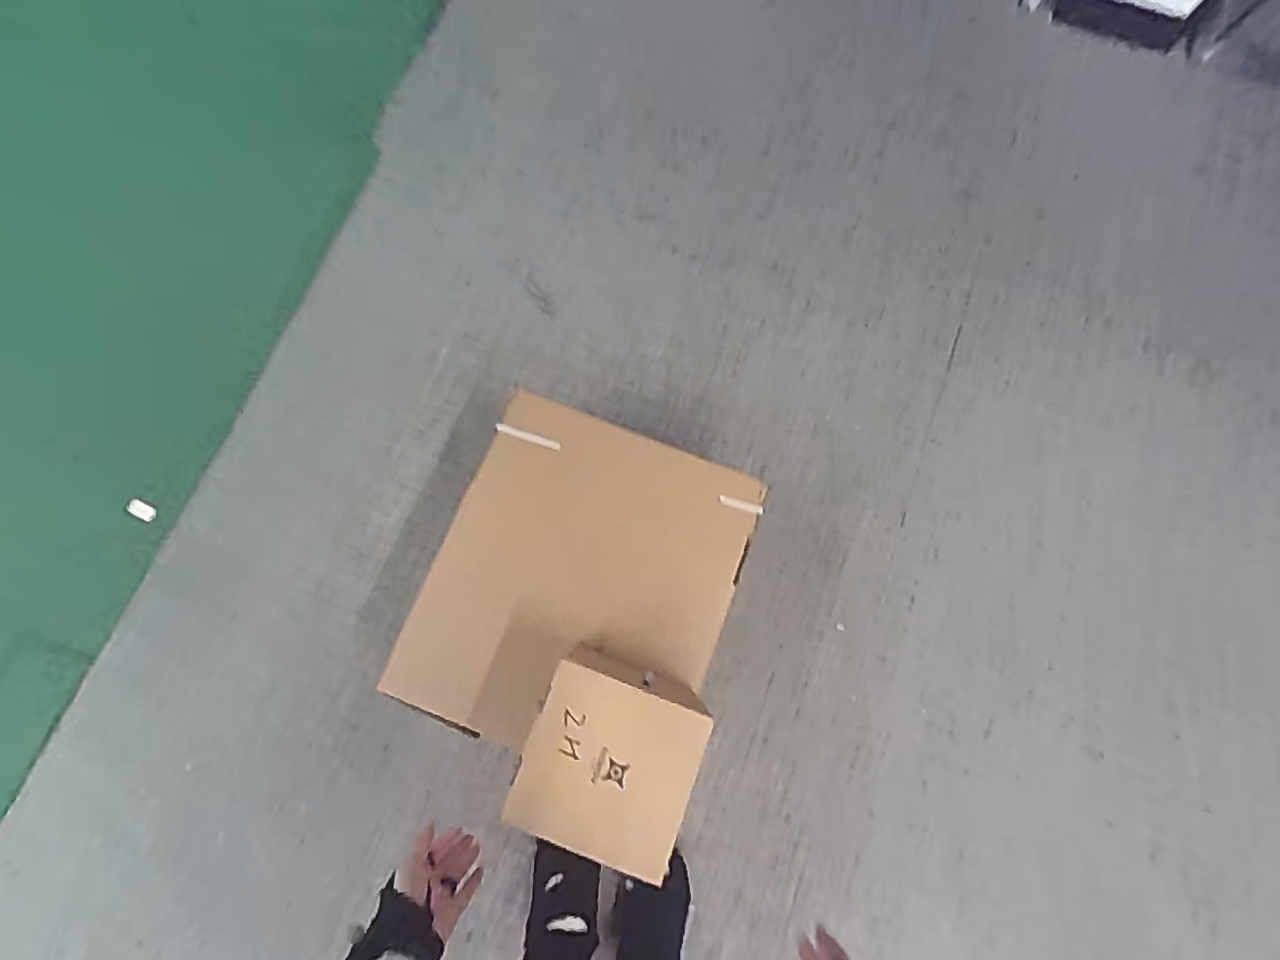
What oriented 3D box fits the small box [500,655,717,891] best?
[{"bbox_3d":[-0.032,0.314,0.626,0.179,0.176,0.168,22,78,3],"label":"small box"}]
